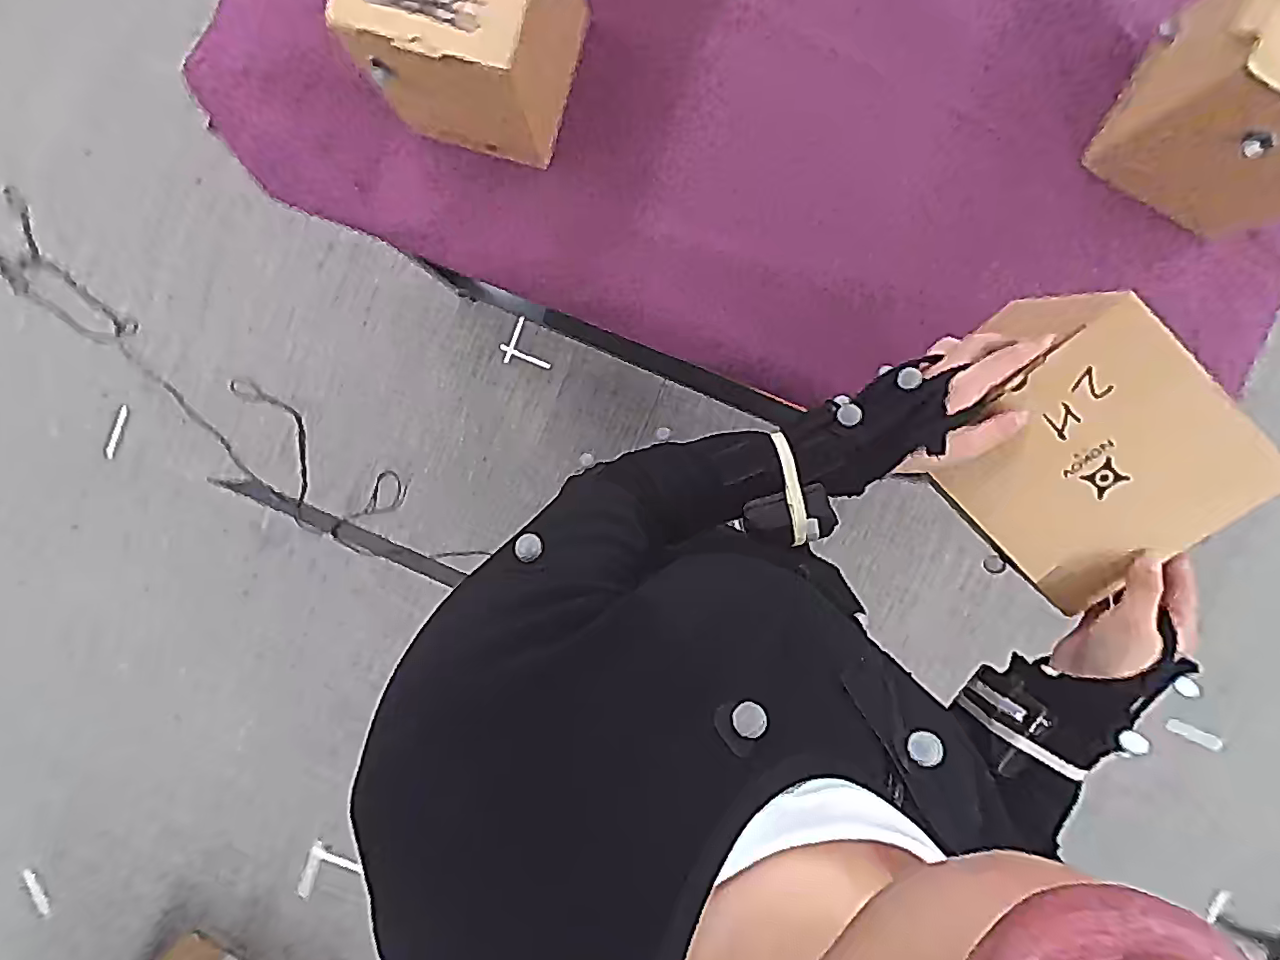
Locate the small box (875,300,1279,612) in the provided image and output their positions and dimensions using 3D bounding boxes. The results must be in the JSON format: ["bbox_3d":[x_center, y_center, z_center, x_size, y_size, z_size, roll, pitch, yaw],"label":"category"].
[{"bbox_3d":[0.335,-0.031,0.459,0.179,0.176,0.168,46,109,-3],"label":"small box"}]

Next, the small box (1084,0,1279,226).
[{"bbox_3d":[0.597,-0.379,0.520,0.179,0.176,0.168,28,96,-2],"label":"small box"}]
